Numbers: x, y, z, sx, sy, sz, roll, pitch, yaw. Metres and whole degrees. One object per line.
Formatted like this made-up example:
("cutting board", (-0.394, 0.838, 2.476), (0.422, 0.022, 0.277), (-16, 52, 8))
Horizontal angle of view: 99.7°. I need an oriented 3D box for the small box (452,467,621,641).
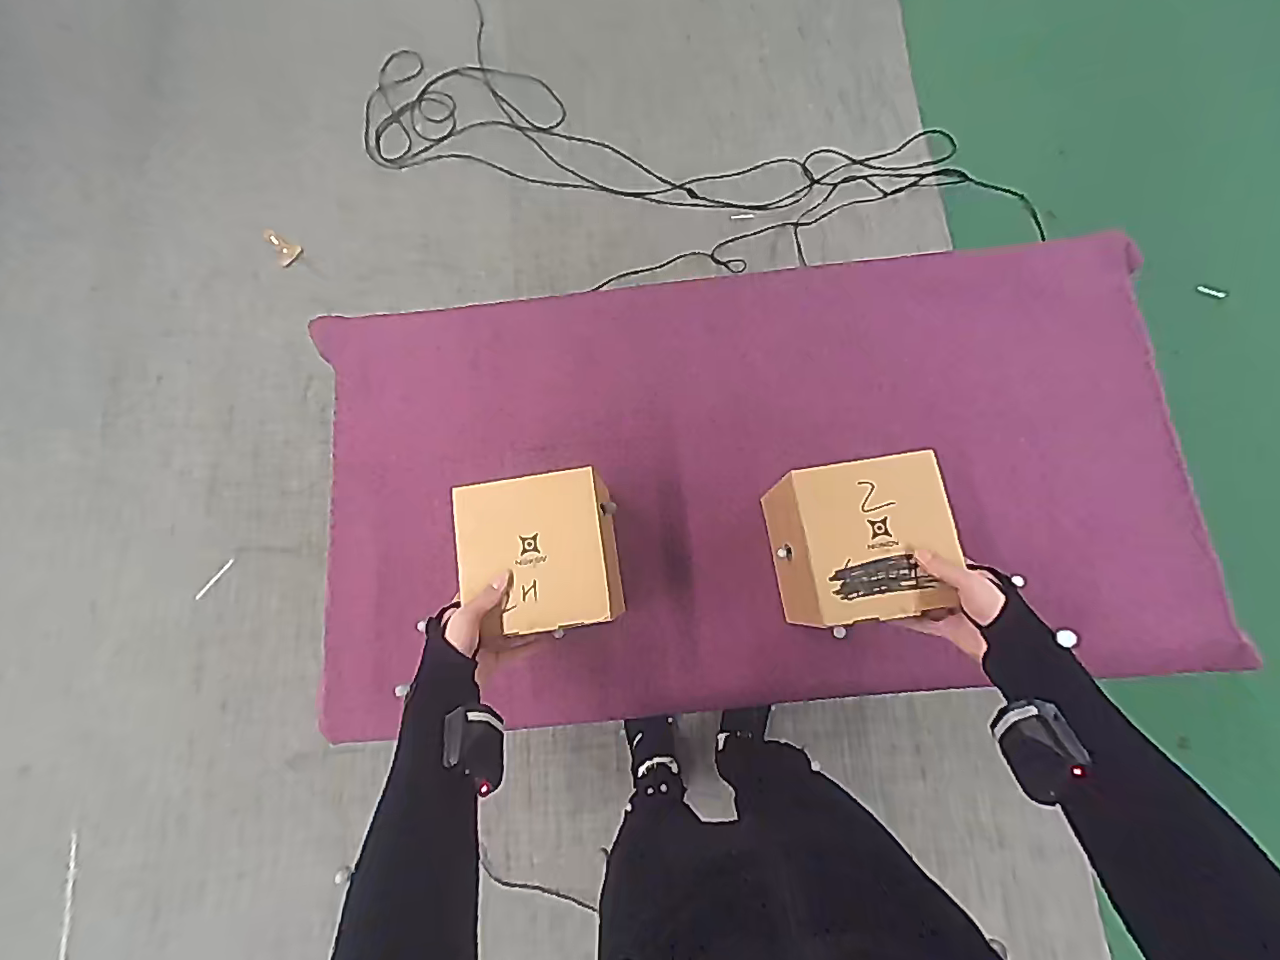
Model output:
("small box", (-0.119, 0.095, 0.671), (0.168, 0.176, 0.179), (-8, 79, 2))
